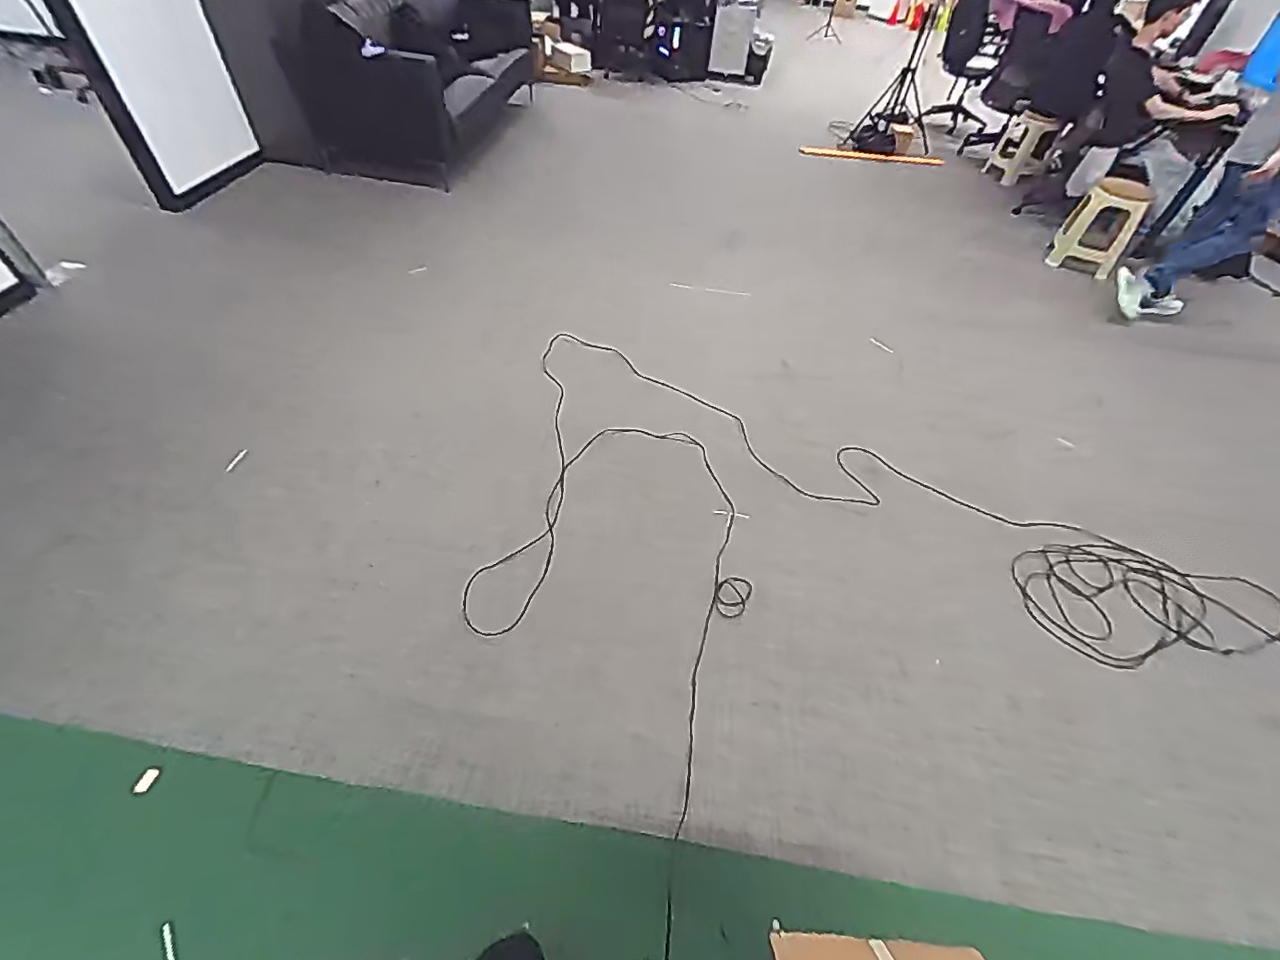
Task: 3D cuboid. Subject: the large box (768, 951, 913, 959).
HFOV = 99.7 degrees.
[{"bbox_3d":[0.332,0.842,0.592,0.320,0.408,0.320,5,84,1],"label":"large box"}]
